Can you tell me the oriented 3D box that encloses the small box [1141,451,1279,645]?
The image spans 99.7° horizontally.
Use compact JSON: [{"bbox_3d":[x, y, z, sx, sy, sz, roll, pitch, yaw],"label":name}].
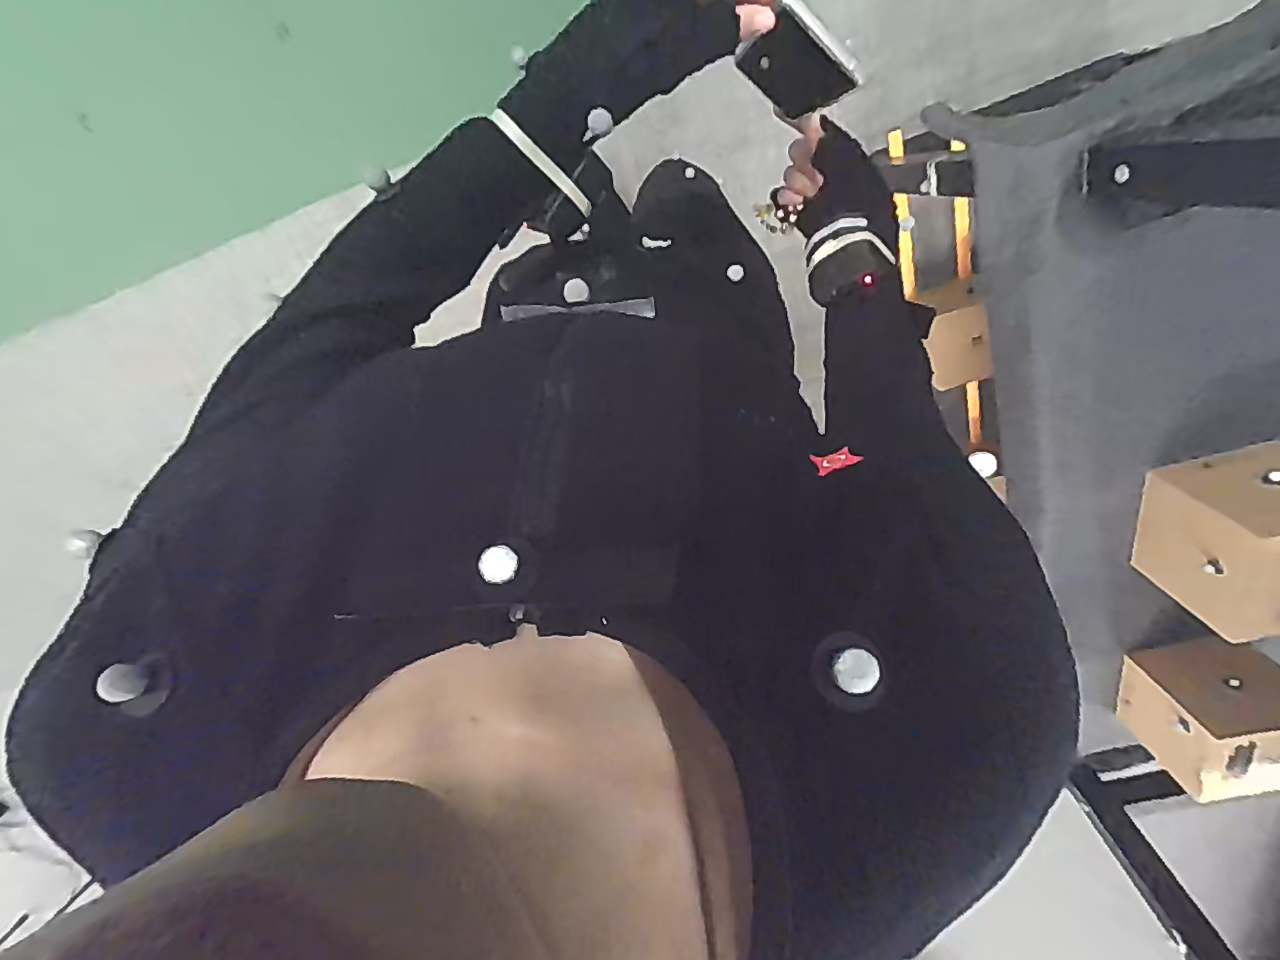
[{"bbox_3d":[0.808,0.078,0.702,0.168,0.176,0.179,-15,118,9],"label":"small box"}]
